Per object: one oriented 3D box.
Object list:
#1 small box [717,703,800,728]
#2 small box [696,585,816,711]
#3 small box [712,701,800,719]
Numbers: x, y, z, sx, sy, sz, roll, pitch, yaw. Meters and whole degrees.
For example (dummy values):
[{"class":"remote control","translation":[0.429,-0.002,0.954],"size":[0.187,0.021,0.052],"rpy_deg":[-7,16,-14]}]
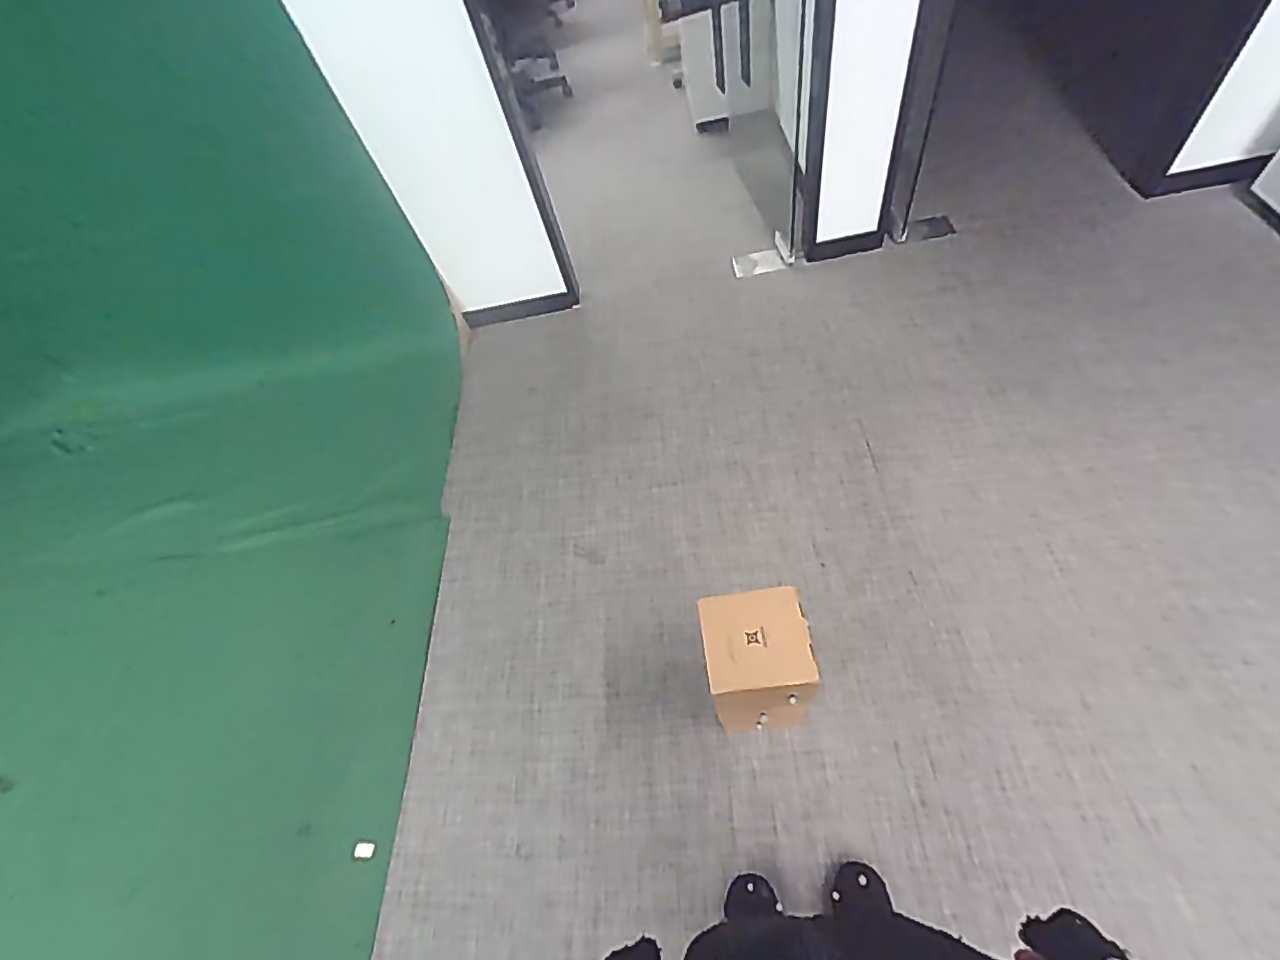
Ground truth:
[{"class":"small box","translation":[0.262,0.470,1.251],"size":[0.179,0.176,0.168],"rpy_deg":[-9,56,8]},{"class":"small box","translation":[0.205,0.308,0.974],"size":[0.179,0.176,0.168],"rpy_deg":[-11,54,7]},{"class":"small box","translation":[0.228,0.385,1.116],"size":[0.179,0.176,0.168],"rpy_deg":[-10,56,6]}]
